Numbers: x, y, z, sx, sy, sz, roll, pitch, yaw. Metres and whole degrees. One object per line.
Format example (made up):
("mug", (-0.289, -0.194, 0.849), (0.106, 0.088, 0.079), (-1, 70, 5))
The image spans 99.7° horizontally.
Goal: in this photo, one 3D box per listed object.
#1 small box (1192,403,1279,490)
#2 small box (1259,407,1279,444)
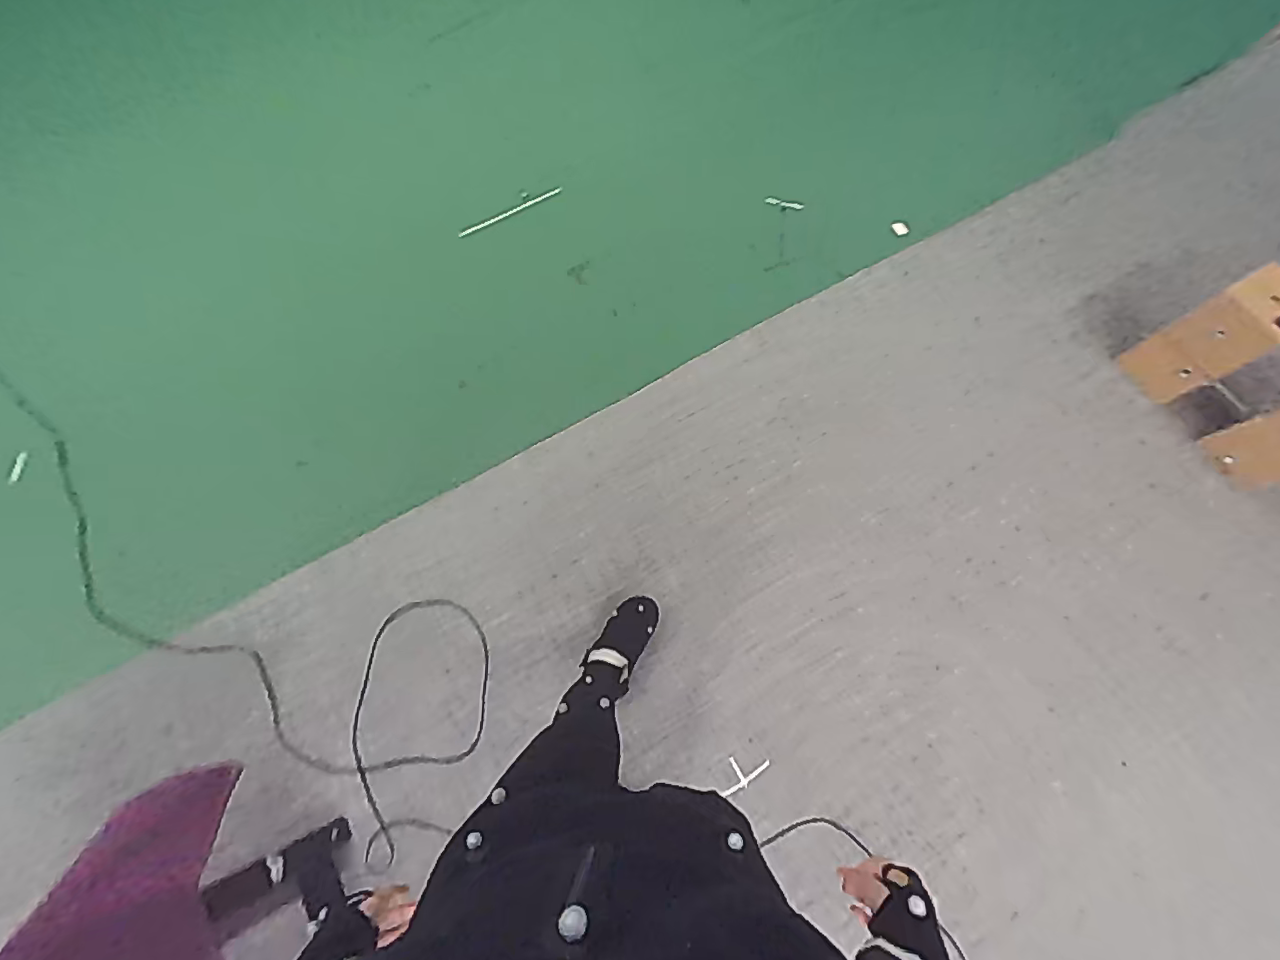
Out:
("small box", (1.634, -0.094, 1.415), (0.179, 0.176, 0.168), (-21, 72, -5))
("small box", (1.635, -0.133, 1.254), (0.168, 0.176, 0.179), (-21, 71, -6))
